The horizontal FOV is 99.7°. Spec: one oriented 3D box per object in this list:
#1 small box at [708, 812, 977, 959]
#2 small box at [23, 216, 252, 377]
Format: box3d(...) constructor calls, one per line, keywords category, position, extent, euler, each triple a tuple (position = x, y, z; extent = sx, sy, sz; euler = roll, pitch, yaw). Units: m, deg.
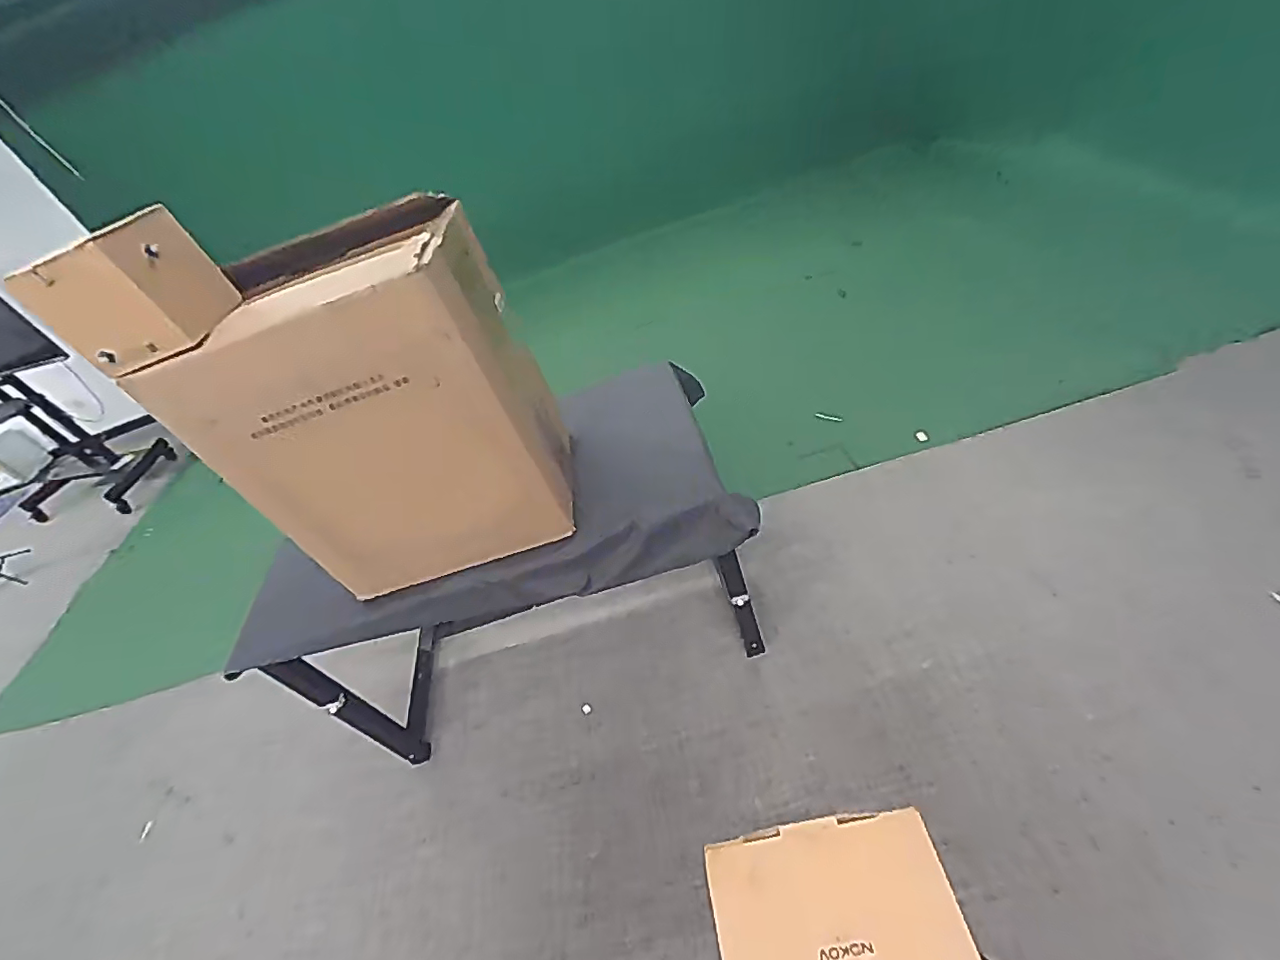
box3d(category="small box", position=(0.152, 0.379, 0.408), extent=(0.168, 0.176, 0.179), euler=(-12, 47, 4))
box3d(category="small box", position=(-0.777, -0.285, 0.863), extent=(0.168, 0.176, 0.179), euler=(-18, 40, 8))
